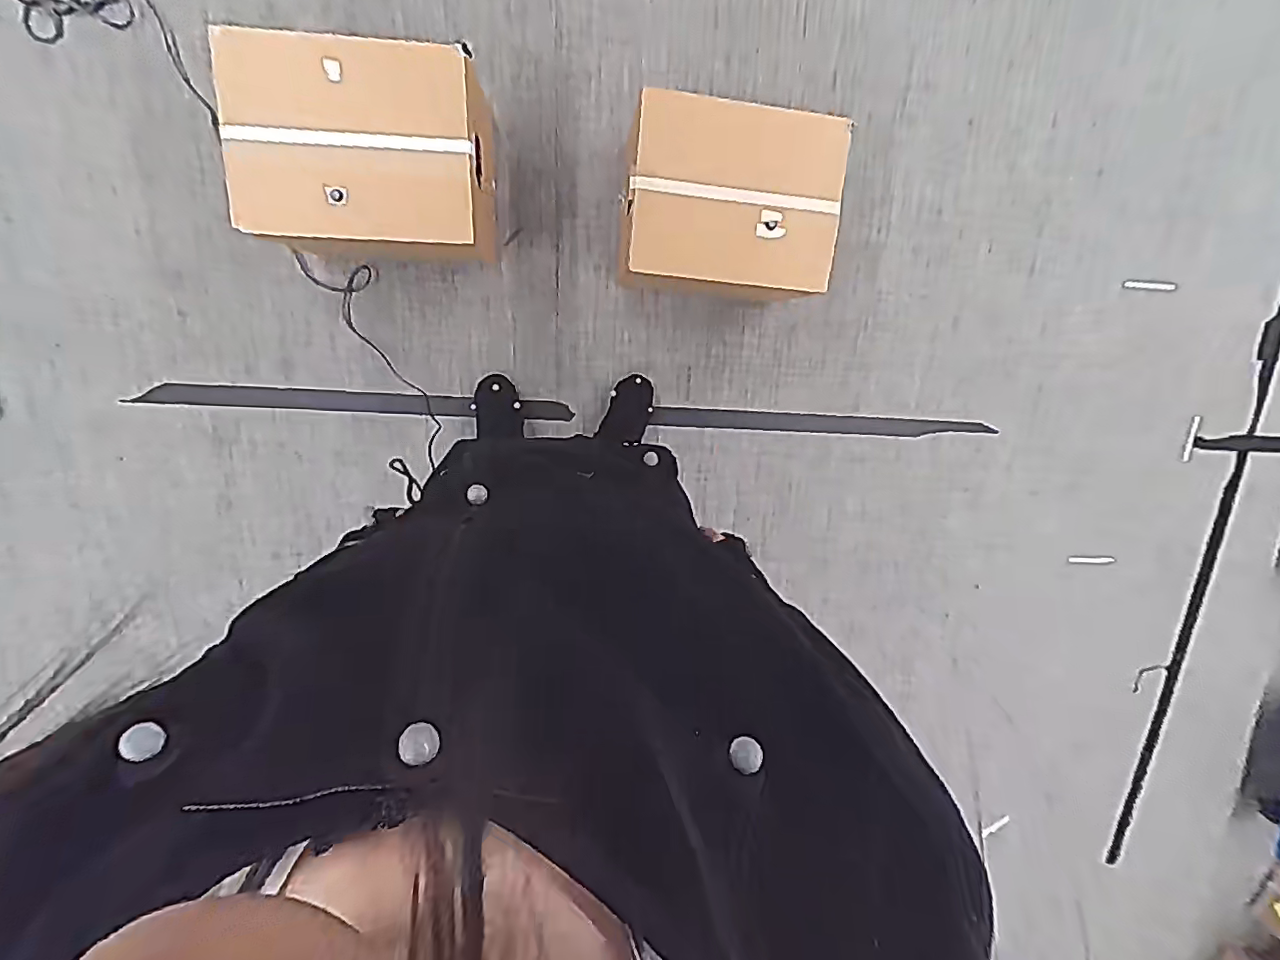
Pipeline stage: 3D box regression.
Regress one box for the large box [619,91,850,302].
[{"bbox_3d":[0.172,-0.577,1.175,0.408,0.320,0.320,4,104,-9],"label":"large box"}]
